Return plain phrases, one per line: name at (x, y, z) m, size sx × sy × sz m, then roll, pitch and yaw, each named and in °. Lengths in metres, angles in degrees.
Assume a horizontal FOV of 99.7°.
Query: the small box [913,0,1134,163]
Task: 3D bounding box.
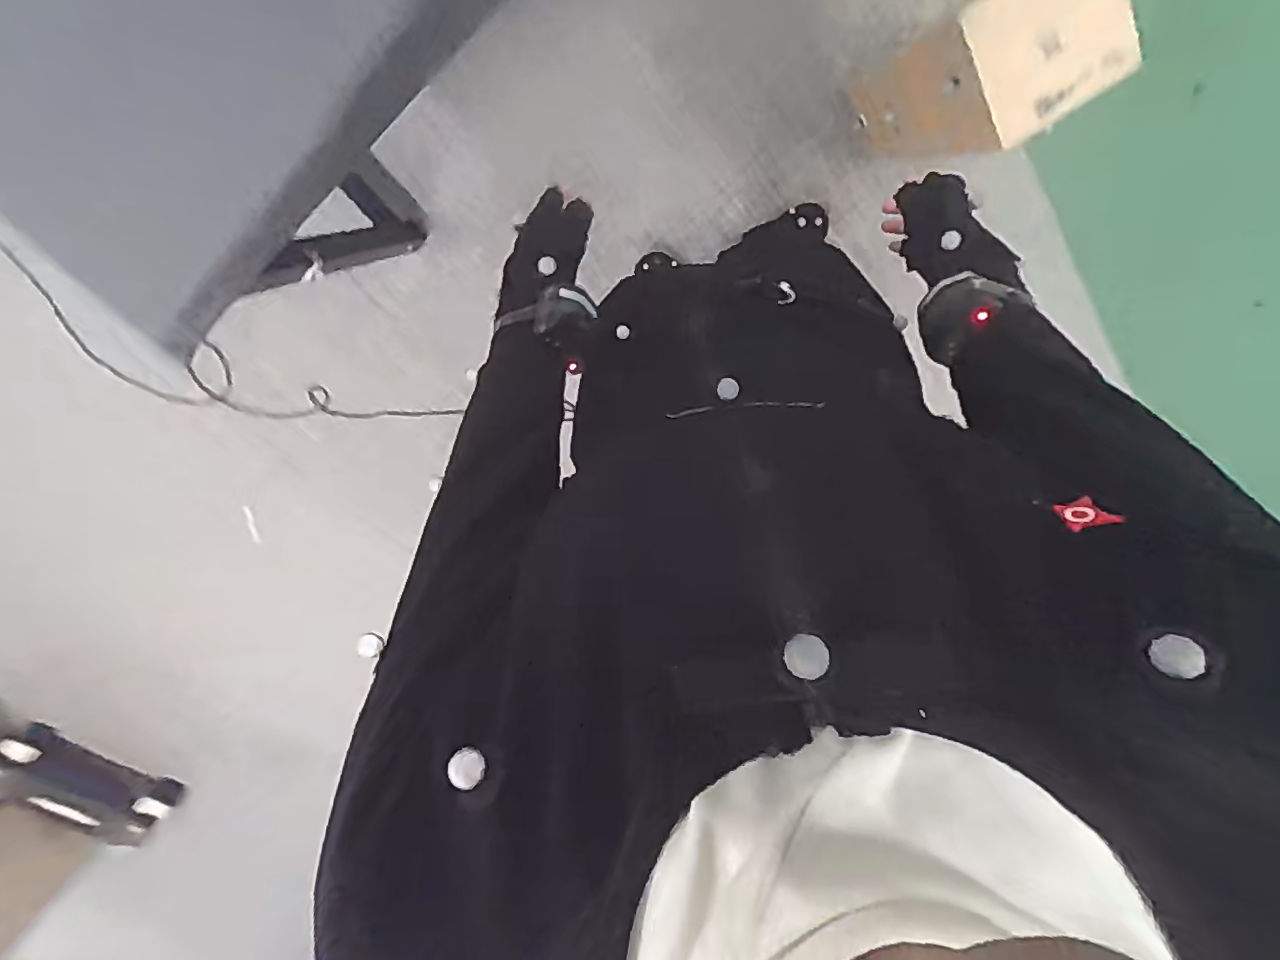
small box at (0.501, -0.562, 0.731) m, size 0.168 × 0.176 × 0.179 m, roll -28°, pitch 111°, yaw 18°
